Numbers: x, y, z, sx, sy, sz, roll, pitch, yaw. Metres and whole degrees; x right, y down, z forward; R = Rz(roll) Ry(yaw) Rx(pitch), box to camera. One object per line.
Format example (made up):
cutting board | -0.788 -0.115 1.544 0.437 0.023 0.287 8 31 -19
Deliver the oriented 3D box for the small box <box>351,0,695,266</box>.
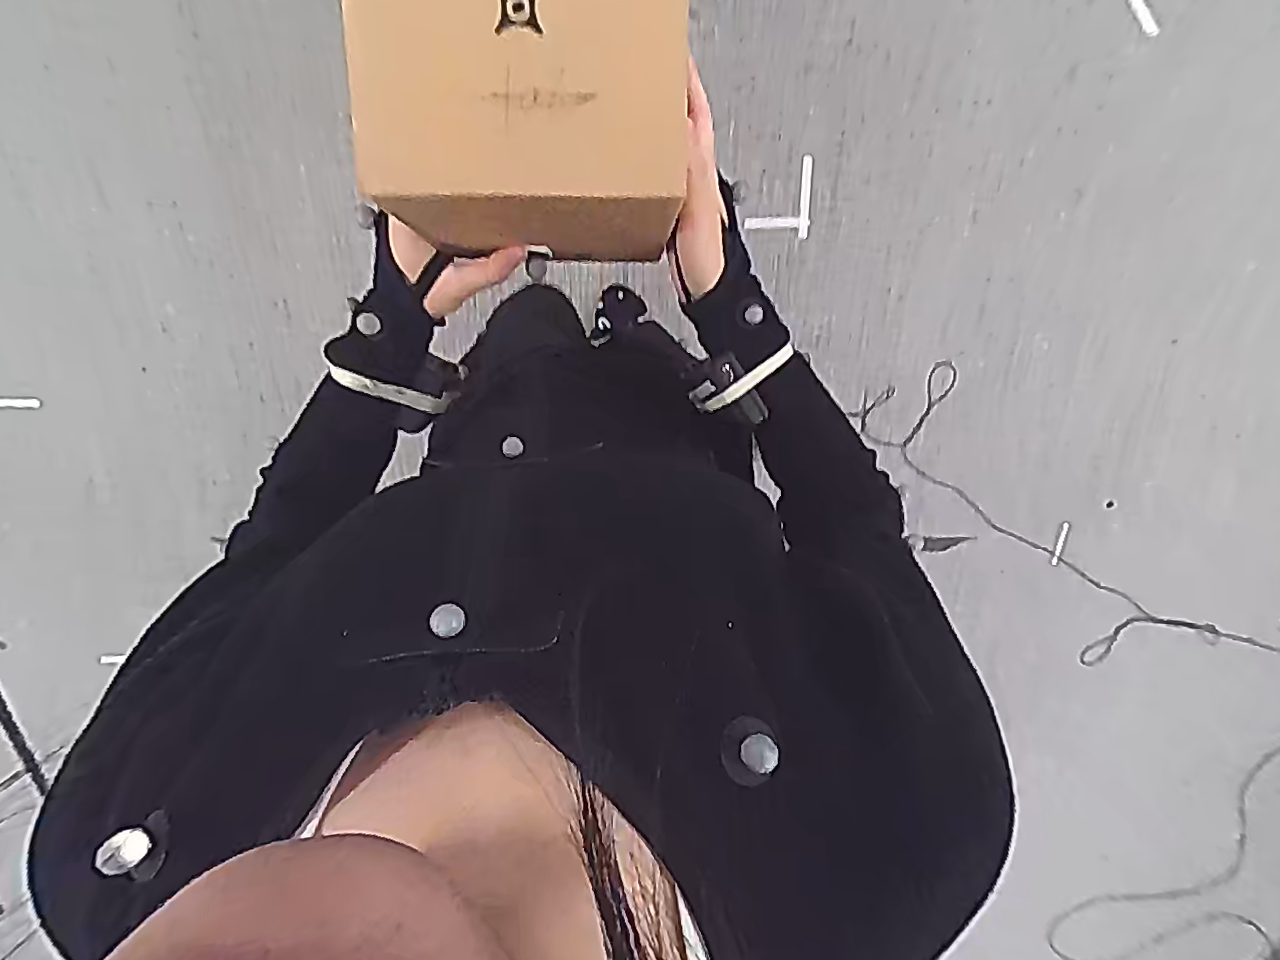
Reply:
small box | -0.059 -0.243 0.336 0.168 0.176 0.179 -2 101 -2
